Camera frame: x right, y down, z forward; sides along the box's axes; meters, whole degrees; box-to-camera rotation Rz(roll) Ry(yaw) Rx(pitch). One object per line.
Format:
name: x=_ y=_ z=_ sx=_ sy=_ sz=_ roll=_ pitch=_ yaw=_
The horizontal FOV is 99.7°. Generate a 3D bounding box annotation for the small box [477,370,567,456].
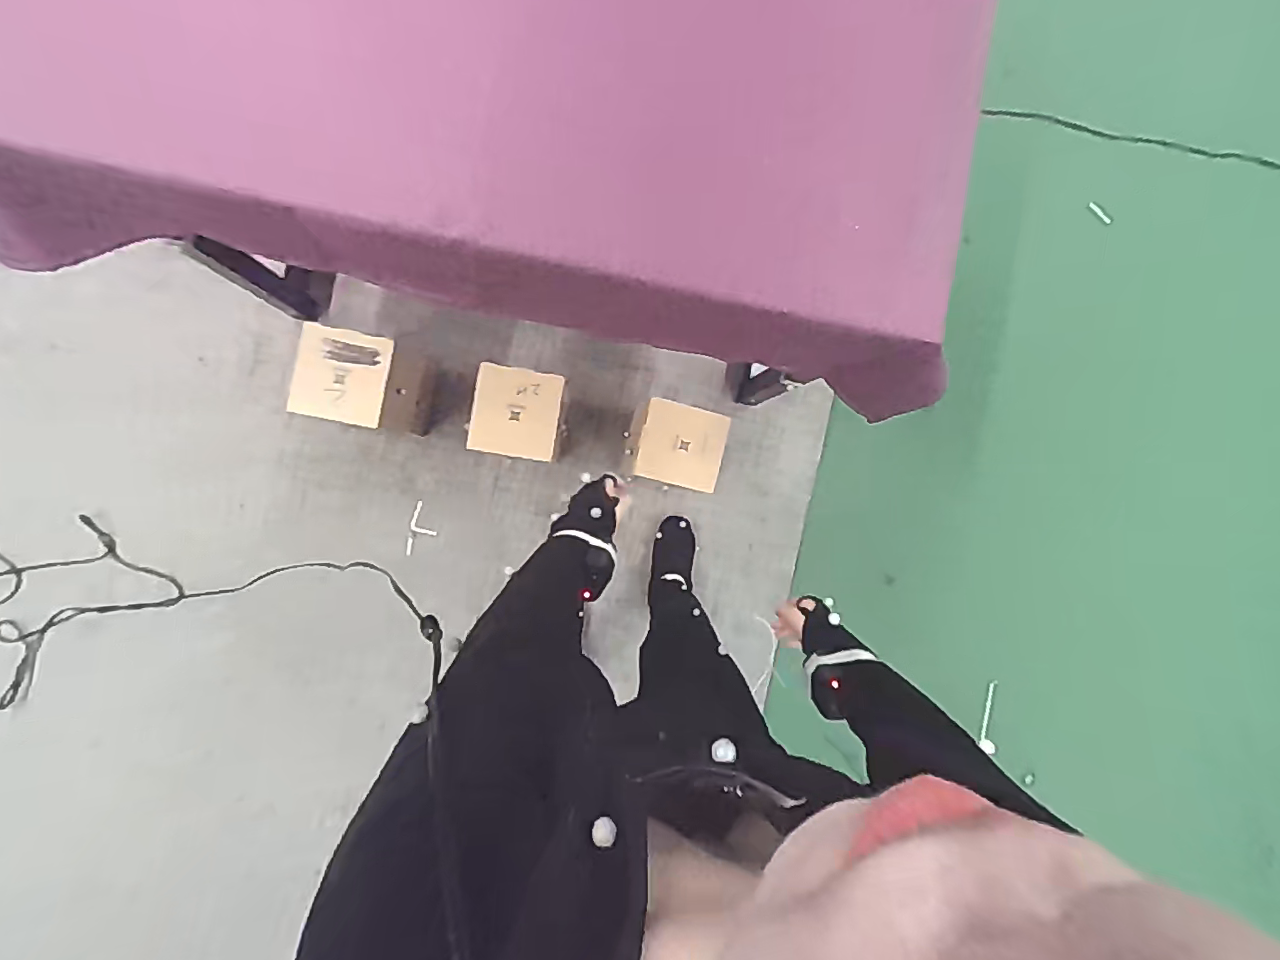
small box: x=-0.277 y=-0.154 z=1.306 sx=0.179 sy=0.176 sz=0.168 roll=11 pitch=89 yaw=-7
